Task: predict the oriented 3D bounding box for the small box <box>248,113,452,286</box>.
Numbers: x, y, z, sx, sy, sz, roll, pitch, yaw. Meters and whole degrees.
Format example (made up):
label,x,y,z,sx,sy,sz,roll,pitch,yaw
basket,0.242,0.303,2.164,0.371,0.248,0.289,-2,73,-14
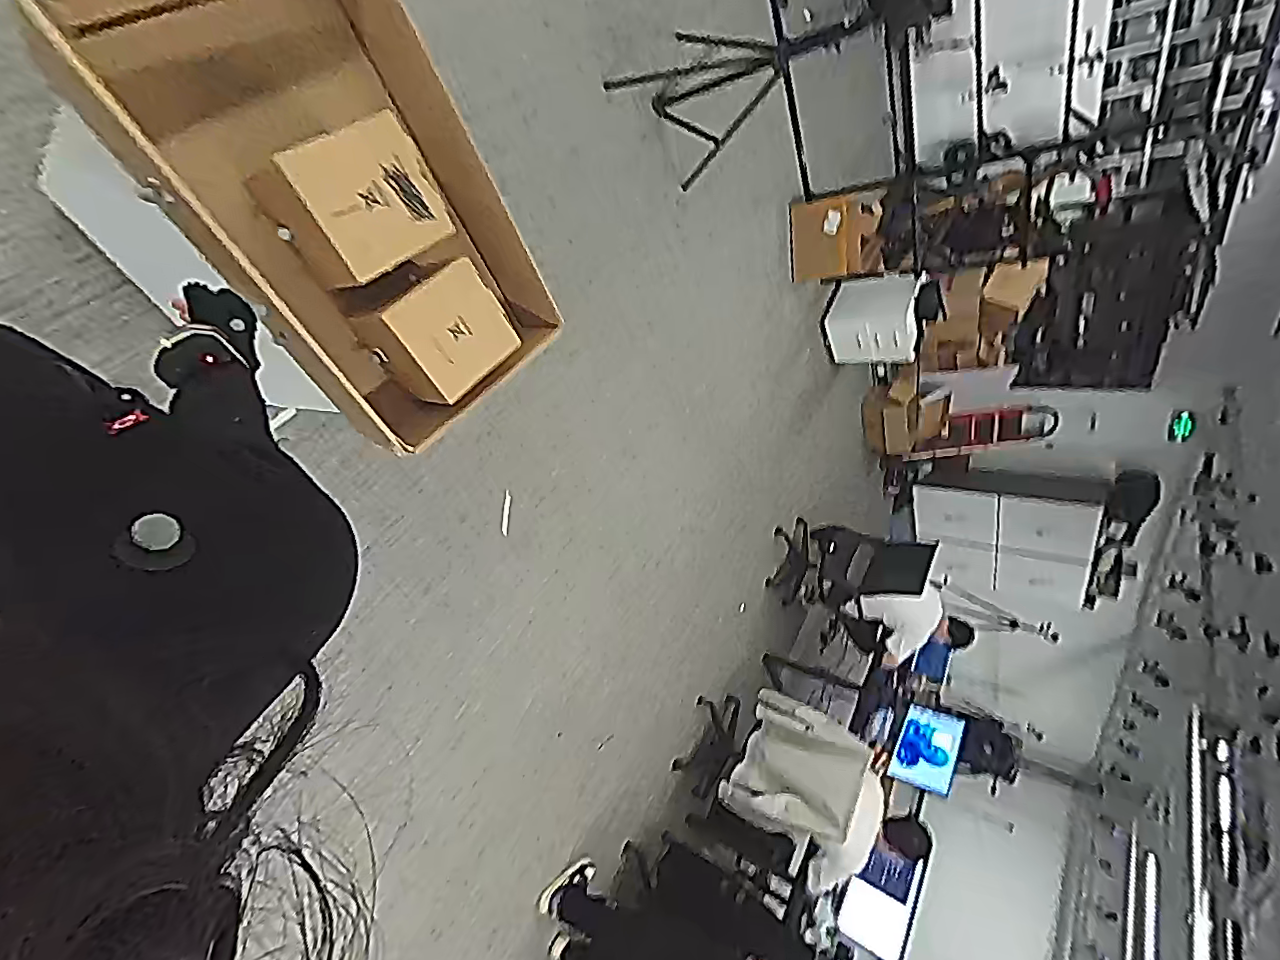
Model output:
label,x,y,z,sx,sy,sz,roll,pitch,yaw
small box,-0.422,-0.401,0.790,0.179,0.176,0.168,-47,131,-28
